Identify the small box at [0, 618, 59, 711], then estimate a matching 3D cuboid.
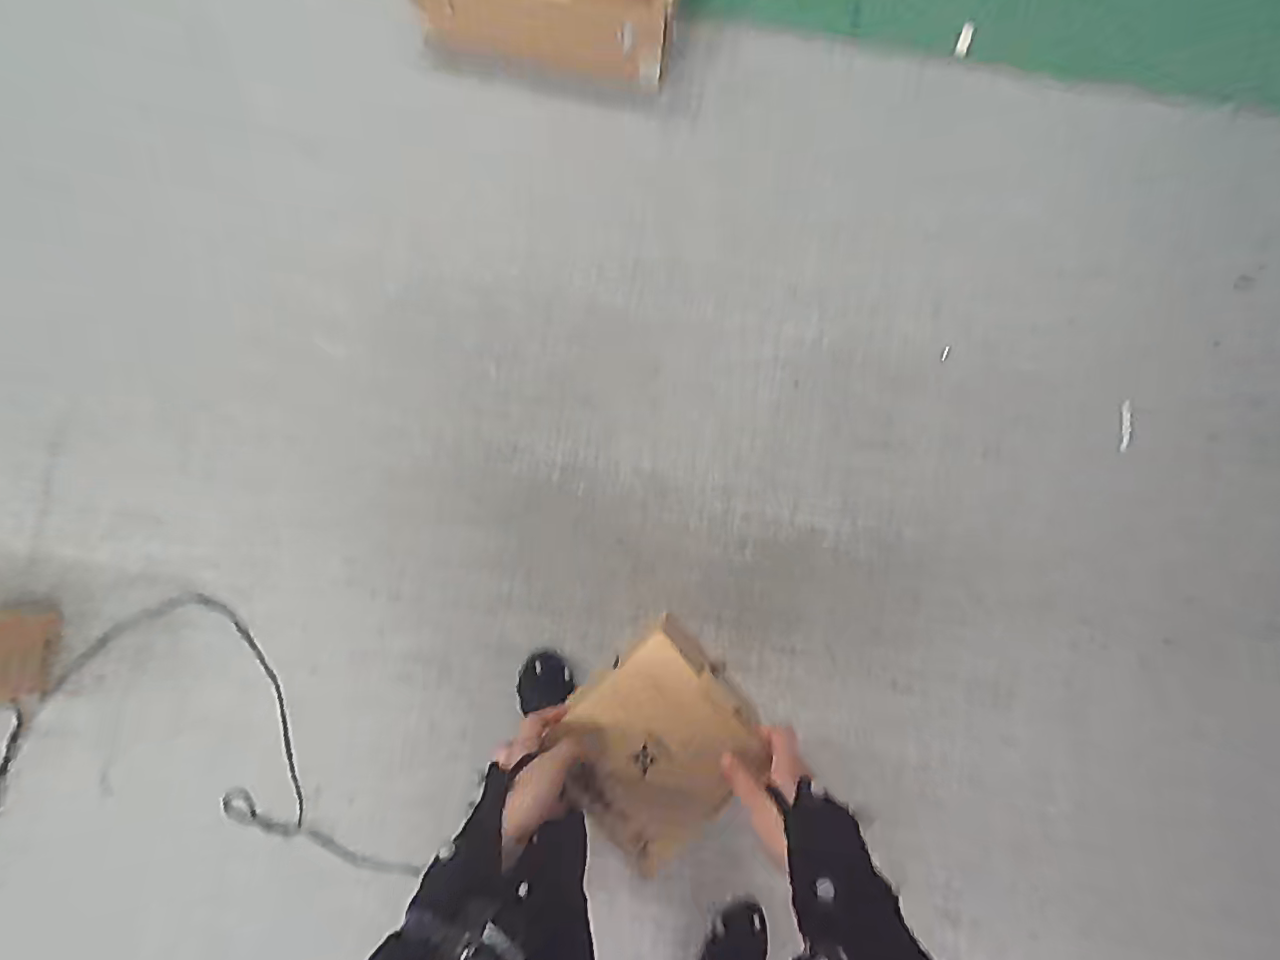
[{"bbox_3d":[-1.263,0.345,1.007,0.179,0.176,0.168,2,79,0],"label":"small box"}]
